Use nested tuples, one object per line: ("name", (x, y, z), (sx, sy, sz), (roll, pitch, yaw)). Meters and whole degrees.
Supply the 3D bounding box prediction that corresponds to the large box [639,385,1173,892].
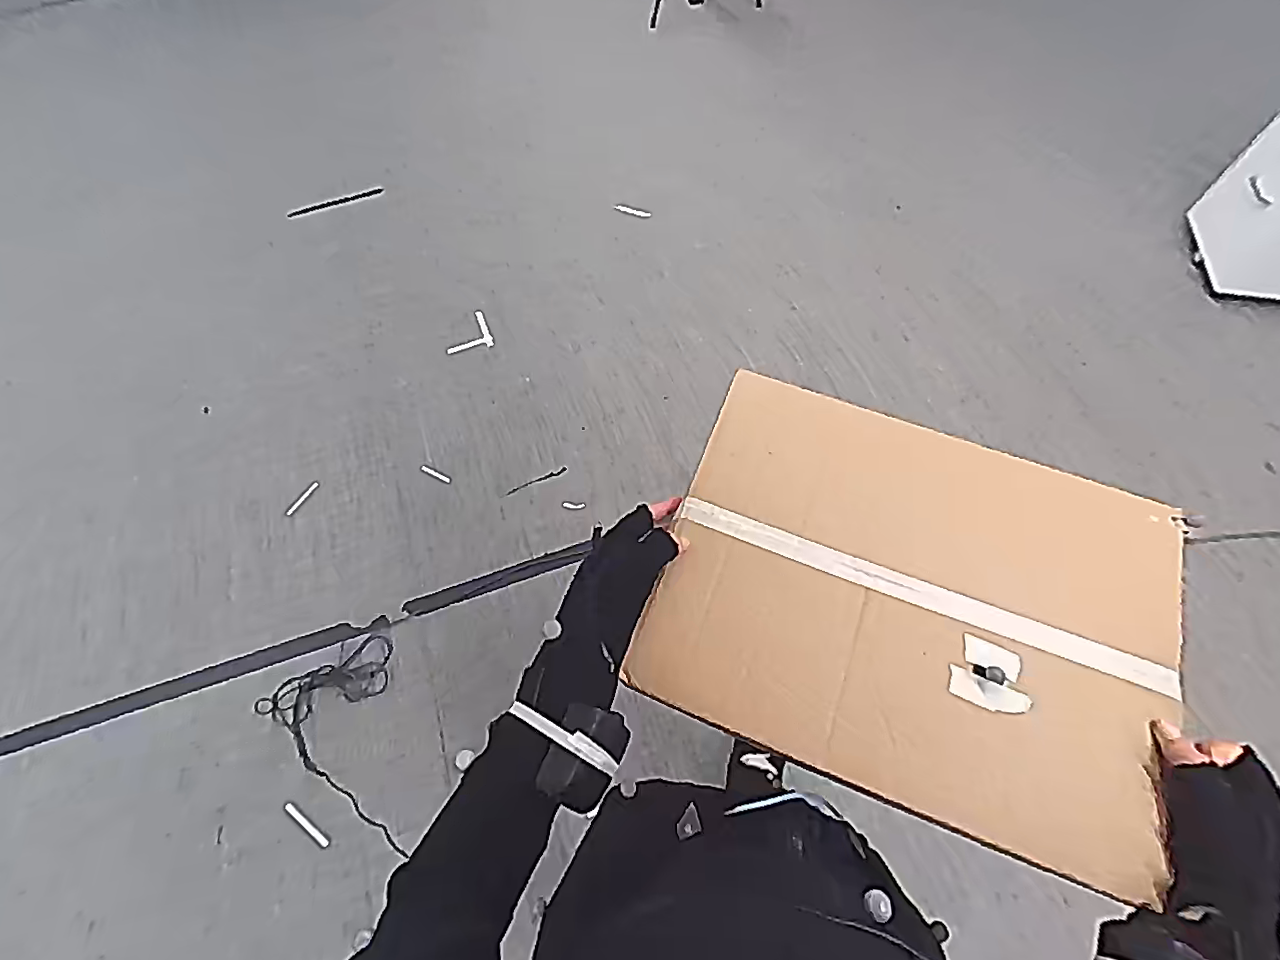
("large box", (0.236, 0.153, 0.599), (0.408, 0.320, 0.320), (20, 70, 9))
